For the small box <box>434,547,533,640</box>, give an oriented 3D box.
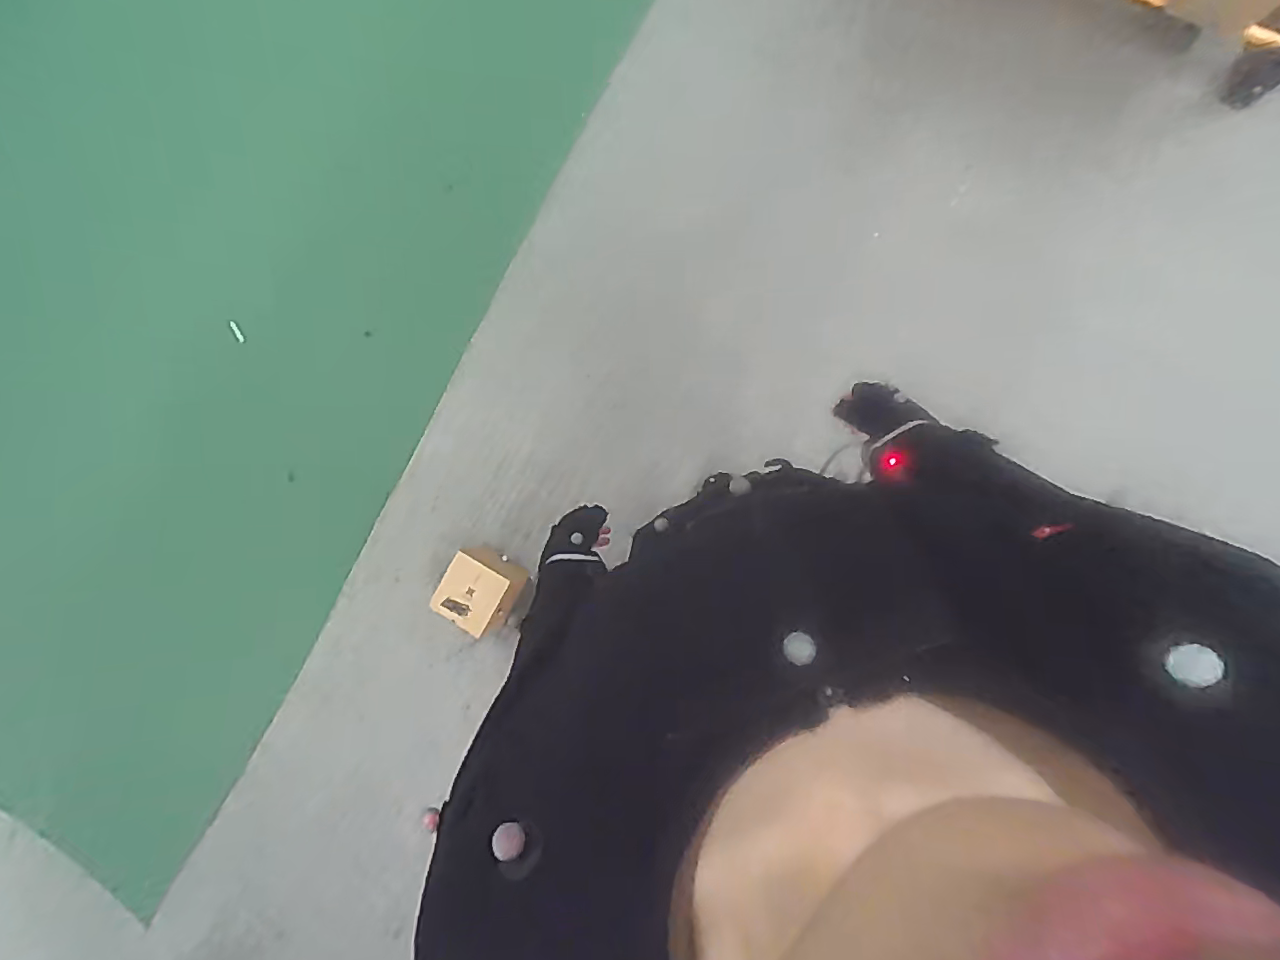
[{"bbox_3d":[-0.417,0.299,1.470,0.168,0.176,0.179,29,92,7],"label":"small box"}]
